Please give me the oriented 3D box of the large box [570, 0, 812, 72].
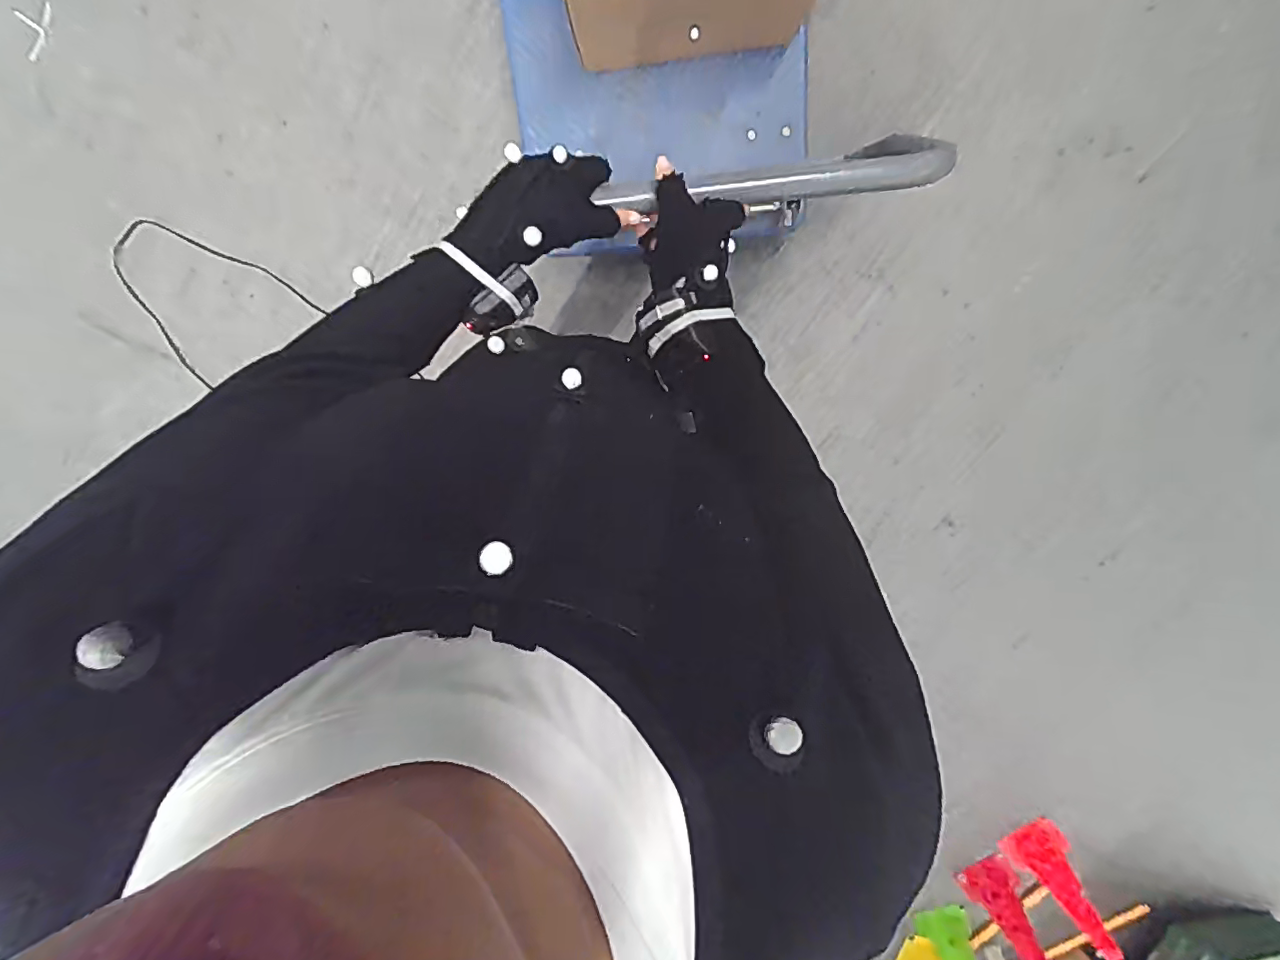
[{"bbox_3d":[0.076,-0.921,0.870,0.408,0.320,0.320,-7,108,4],"label":"large box"}]
